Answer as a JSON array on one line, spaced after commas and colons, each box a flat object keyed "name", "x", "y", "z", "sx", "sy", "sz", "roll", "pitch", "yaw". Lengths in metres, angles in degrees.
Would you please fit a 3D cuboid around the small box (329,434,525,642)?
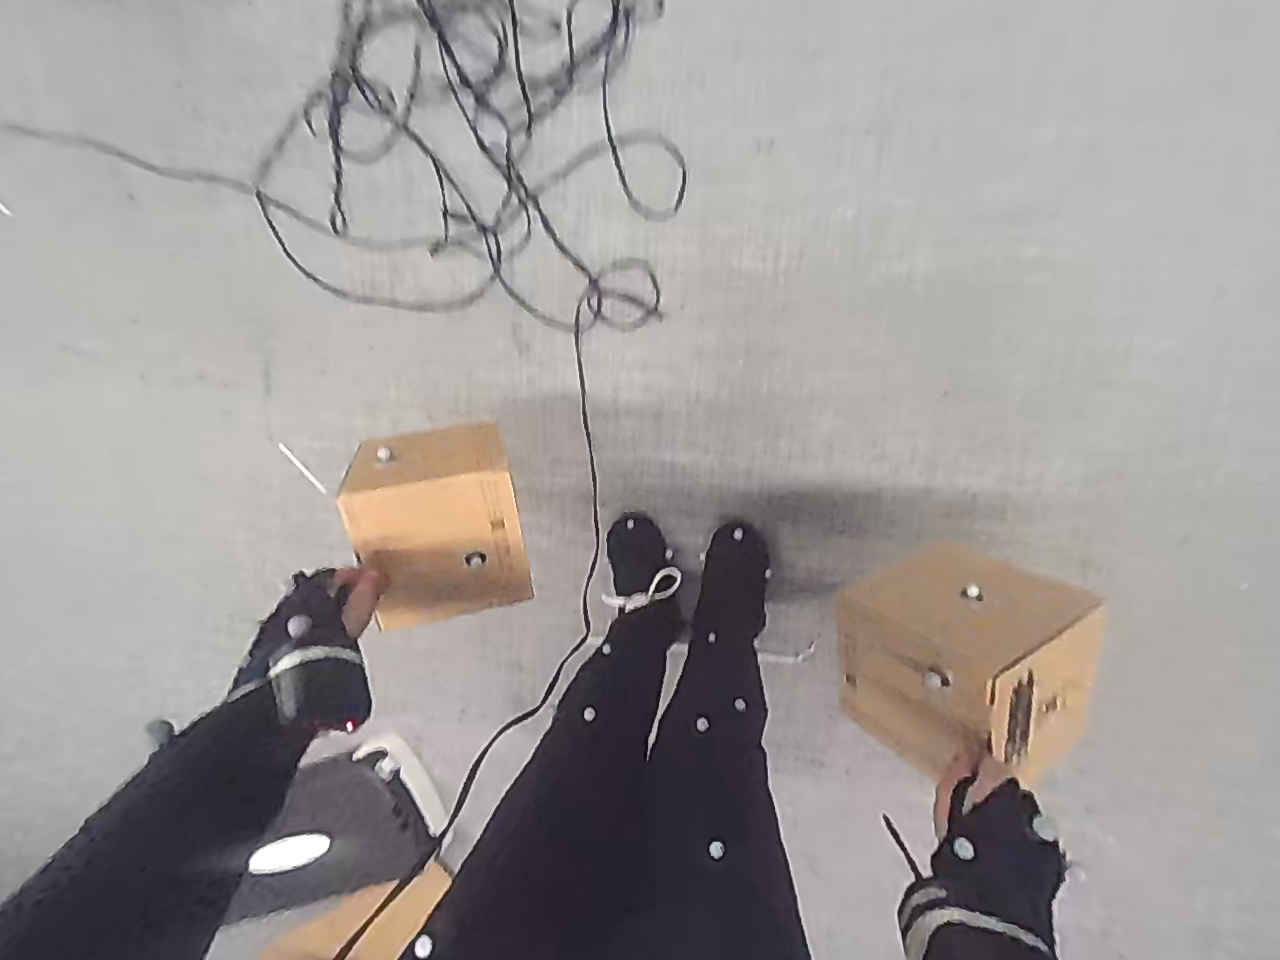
[{"name": "small box", "x": -0.234, "y": 0.053, "z": 0.626, "sx": 0.176, "sy": 0.179, "sz": 0.168, "roll": -12, "pitch": 116, "yaw": -17}]
